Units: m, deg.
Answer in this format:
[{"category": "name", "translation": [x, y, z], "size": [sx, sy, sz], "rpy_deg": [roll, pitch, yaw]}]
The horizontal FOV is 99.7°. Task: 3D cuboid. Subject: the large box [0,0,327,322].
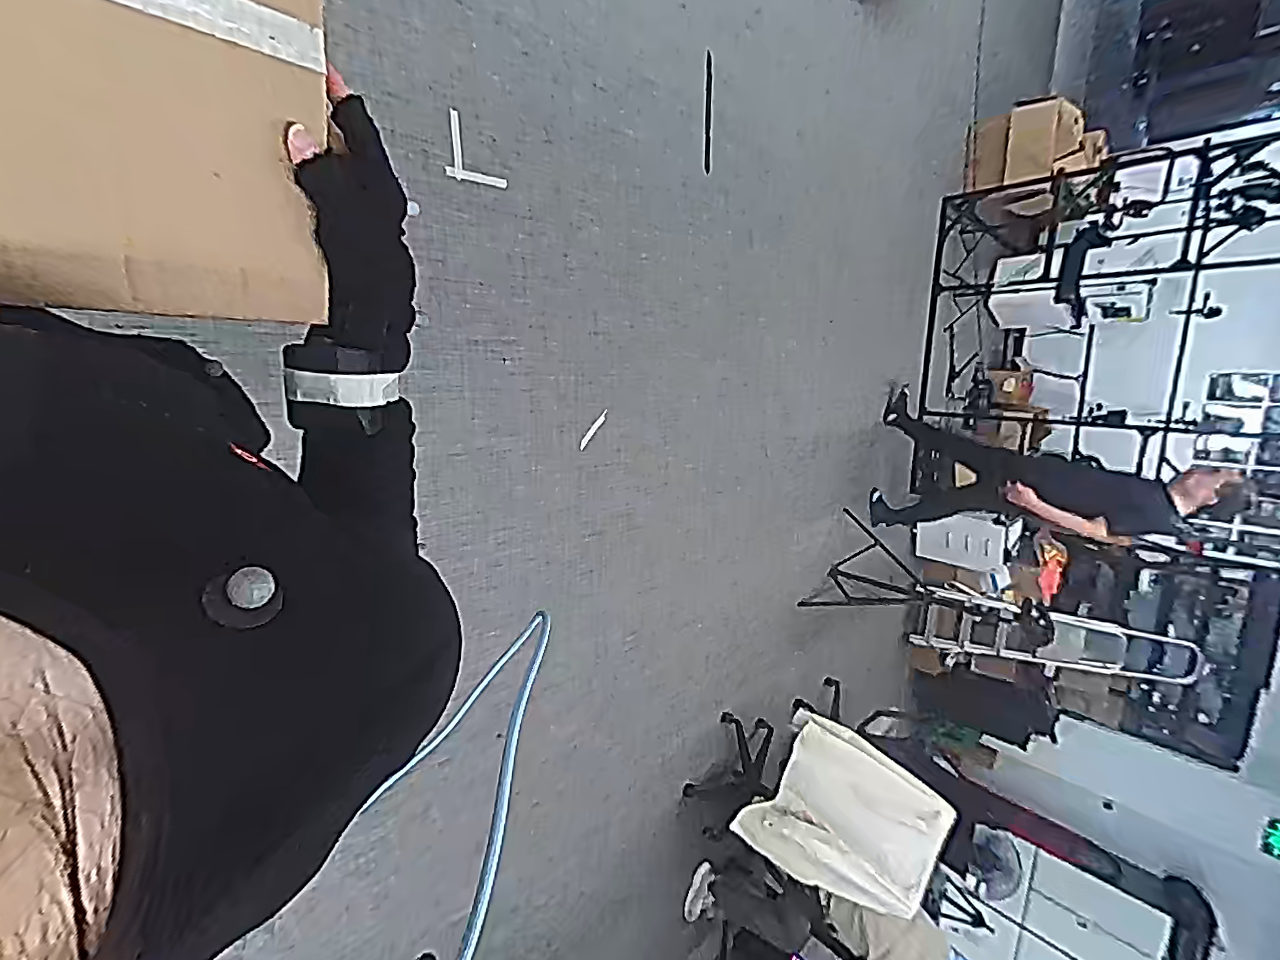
[{"category": "large box", "translation": [-0.439, -0.281, 0.288], "size": [0.408, 0.320, 0.320], "rpy_deg": [-10, 121, -43]}]
